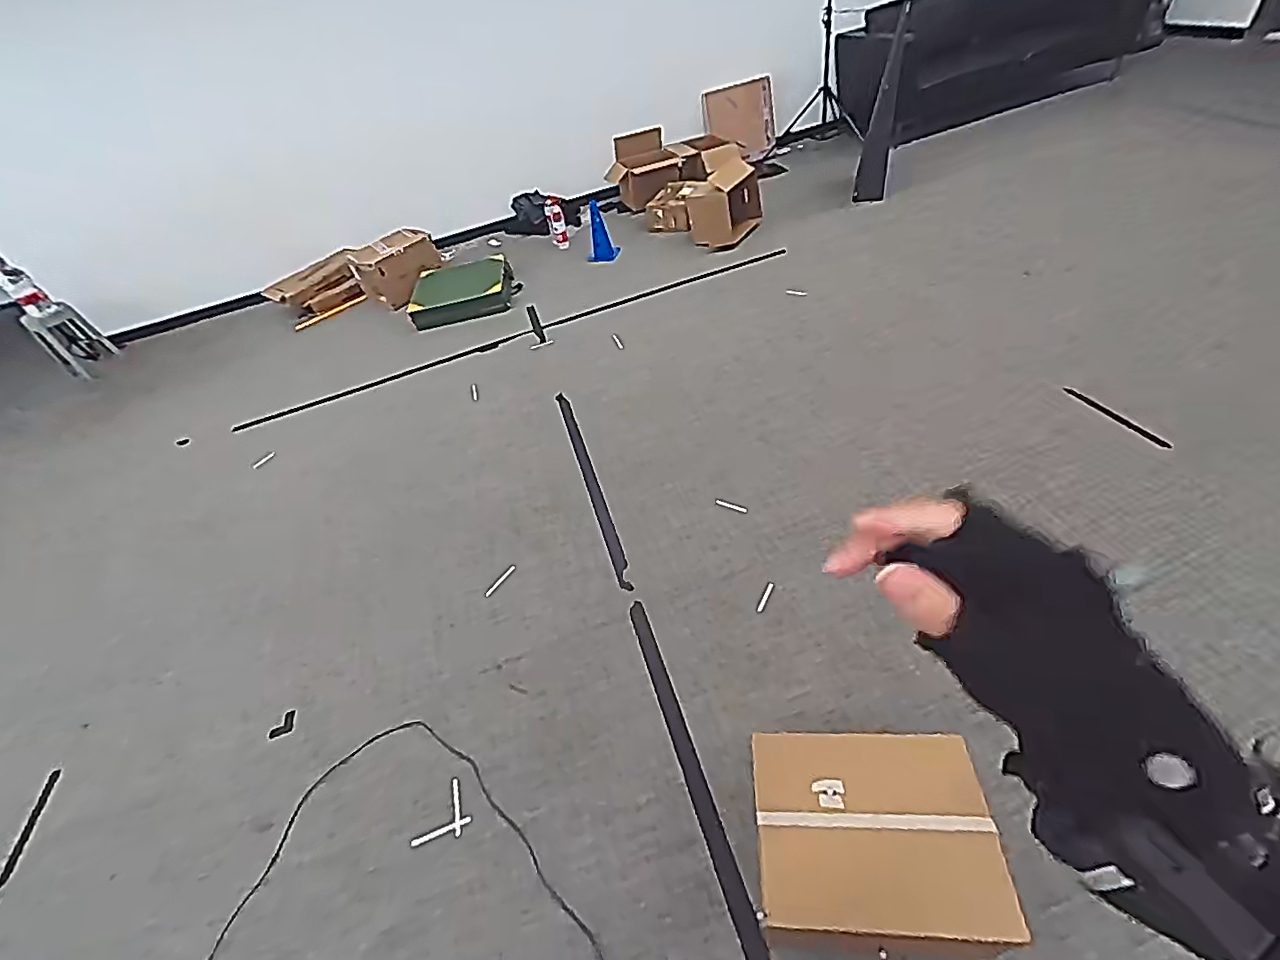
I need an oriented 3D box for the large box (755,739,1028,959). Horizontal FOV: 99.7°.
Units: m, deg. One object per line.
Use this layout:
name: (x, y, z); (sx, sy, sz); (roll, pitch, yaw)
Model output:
large box: (0.454, 0.738, 1.083); (0.408, 0.320, 0.320); (-5, 43, 11)
